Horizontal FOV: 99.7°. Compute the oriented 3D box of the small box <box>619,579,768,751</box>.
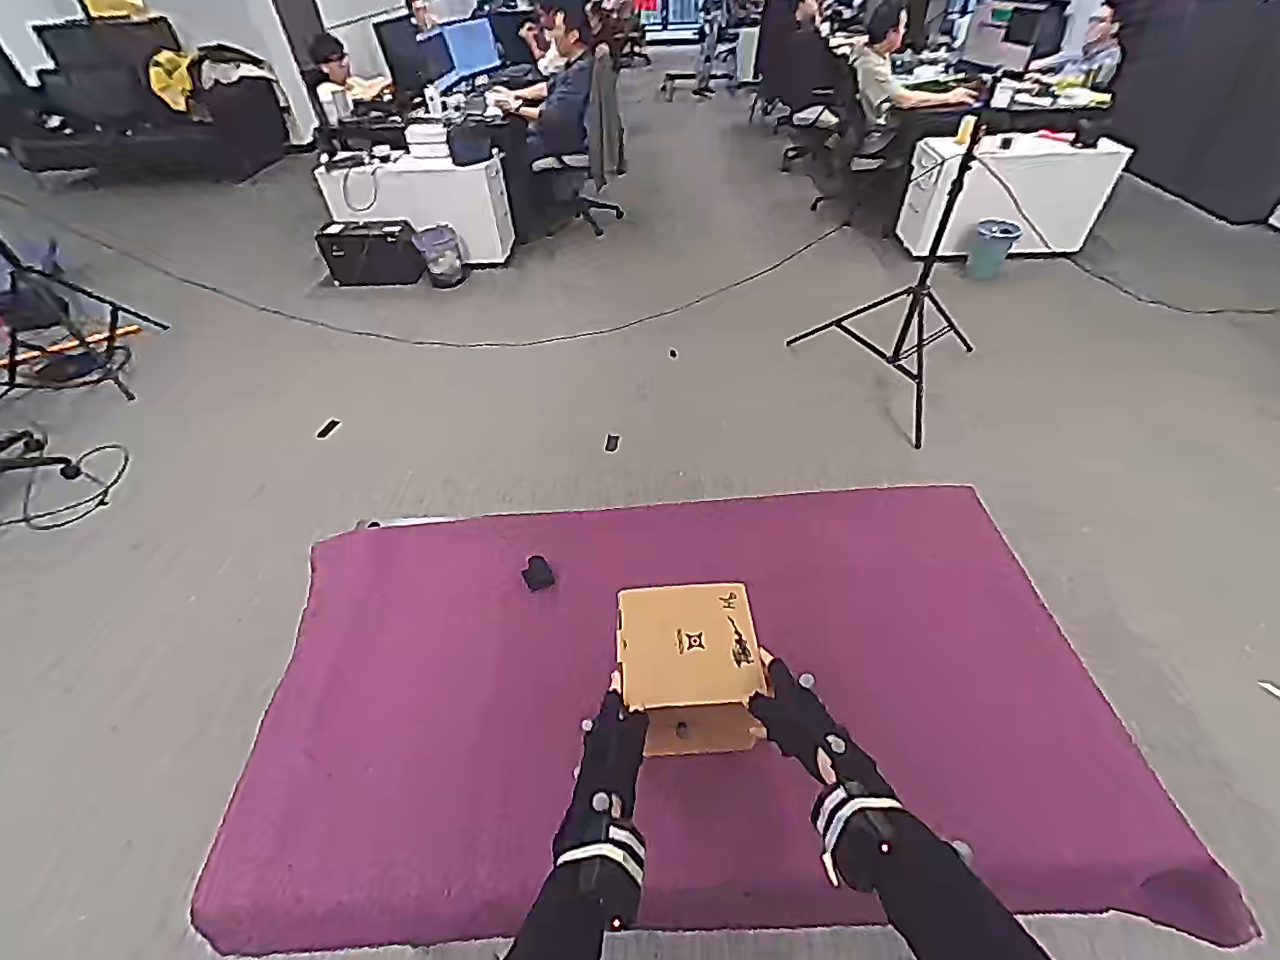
[{"bbox_3d":[0.067,0.258,0.745,0.179,0.176,0.168,-4,45,0],"label":"small box"}]
